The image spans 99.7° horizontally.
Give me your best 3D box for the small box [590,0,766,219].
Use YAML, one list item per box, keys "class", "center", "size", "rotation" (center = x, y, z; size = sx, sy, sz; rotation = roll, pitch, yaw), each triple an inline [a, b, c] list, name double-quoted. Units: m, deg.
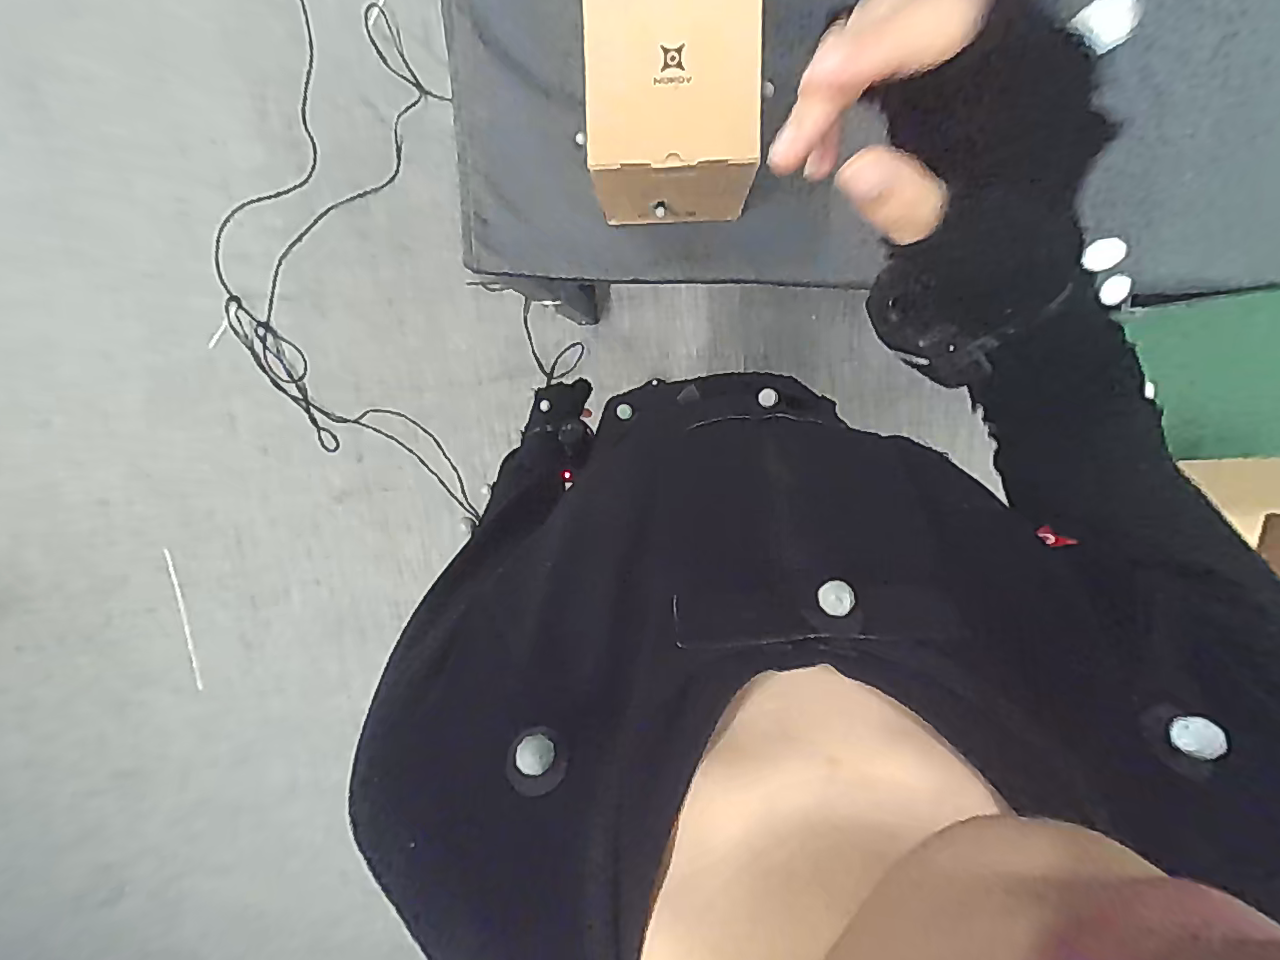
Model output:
- class: "small box"
  center: [0.038, -0.403, 0.583]
  size: [0.168, 0.176, 0.179]
  rotation: [-1, 99, 3]
